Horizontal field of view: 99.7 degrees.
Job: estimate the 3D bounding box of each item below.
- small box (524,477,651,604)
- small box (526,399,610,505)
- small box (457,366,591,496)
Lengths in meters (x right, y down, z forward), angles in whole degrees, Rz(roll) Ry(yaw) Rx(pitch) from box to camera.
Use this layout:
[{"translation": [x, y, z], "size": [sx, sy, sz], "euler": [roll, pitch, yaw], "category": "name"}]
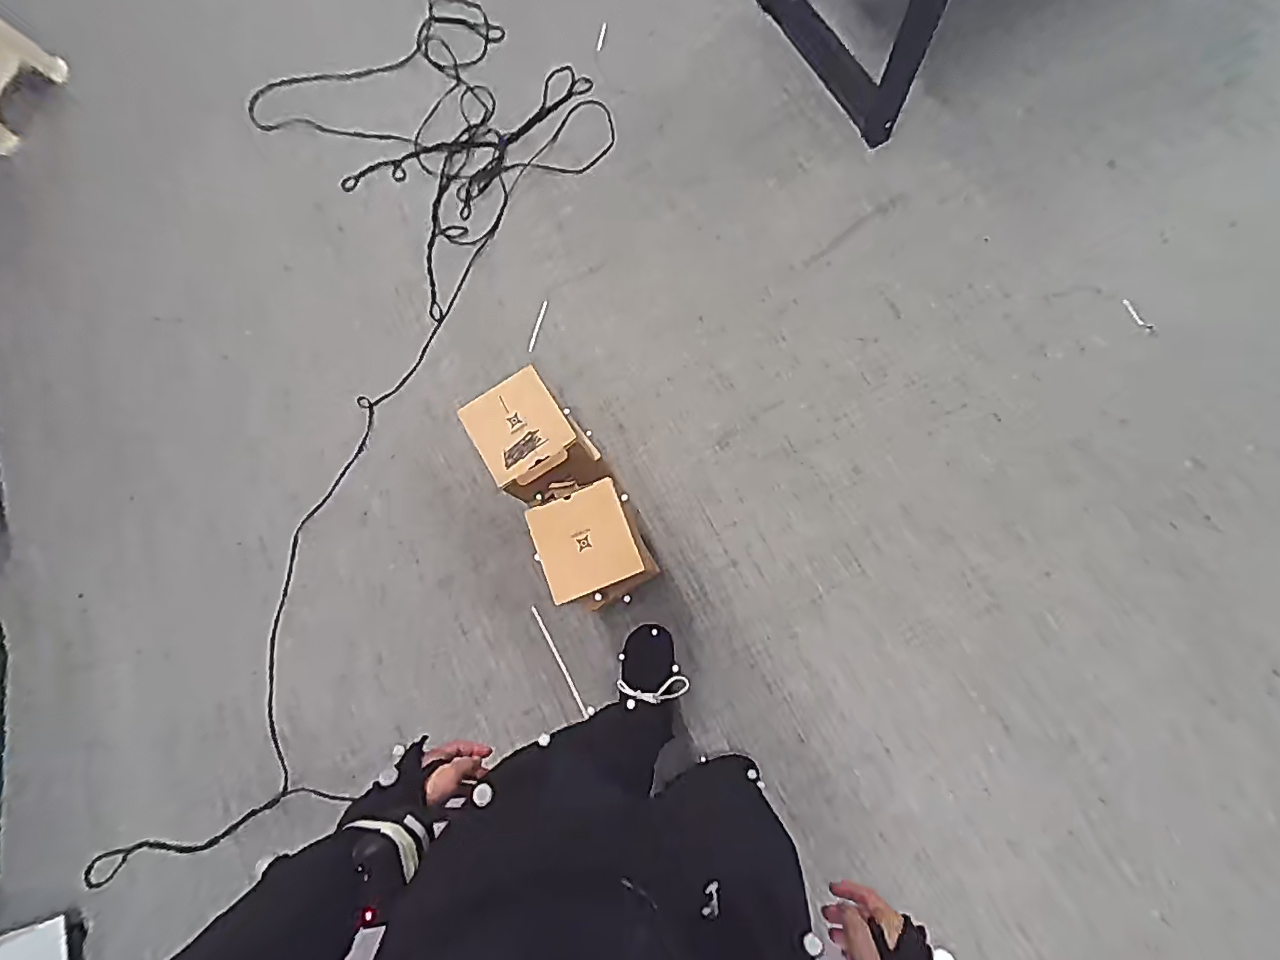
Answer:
[{"translation": [-0.088, 0.115, 0.999], "size": [0.168, 0.176, 0.179], "euler": [-23, 77, 2], "category": "small box"}, {"translation": [-0.188, -0.044, 1.205], "size": [0.179, 0.176, 0.168], "euler": [-38, 77, -3], "category": "small box"}, {"translation": [-0.214, -0.083, 1.046], "size": [0.168, 0.176, 0.179], "euler": [-32, 76, -2], "category": "small box"}]
